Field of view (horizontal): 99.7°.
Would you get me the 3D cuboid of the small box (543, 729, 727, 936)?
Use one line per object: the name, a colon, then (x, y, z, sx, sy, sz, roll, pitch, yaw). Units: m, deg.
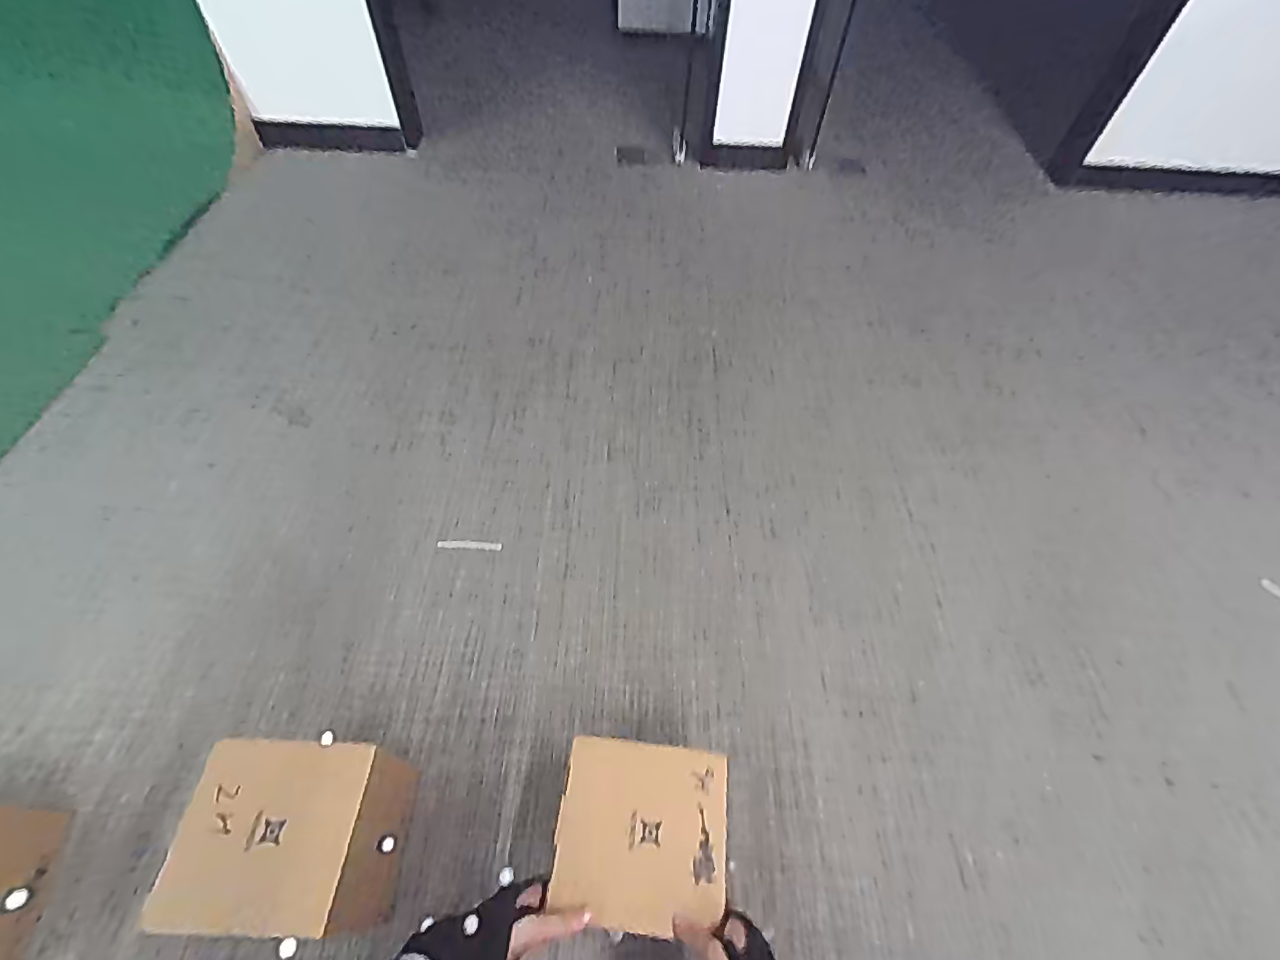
small box: (-0.001, 0.405, 0.626, 0.179, 0.176, 0.168, 7, 53, 3)

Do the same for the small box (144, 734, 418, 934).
small box: (-0.375, 0.398, 0.612, 0.179, 0.176, 0.168, 3, 52, -1)
